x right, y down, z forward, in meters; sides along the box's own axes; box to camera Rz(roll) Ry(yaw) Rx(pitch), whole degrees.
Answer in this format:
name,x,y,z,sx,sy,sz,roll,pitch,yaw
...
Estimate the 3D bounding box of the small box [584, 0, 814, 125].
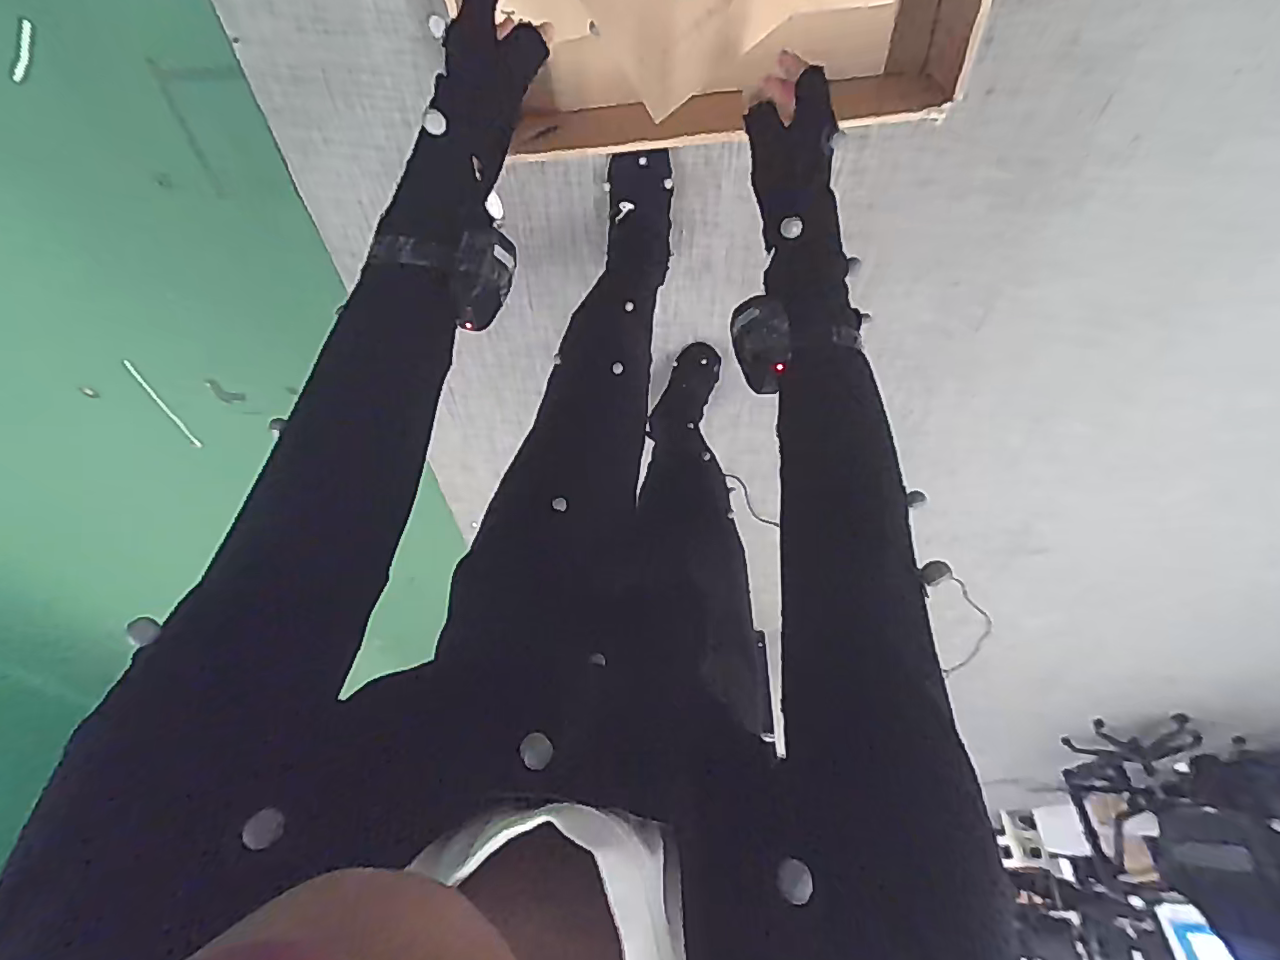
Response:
name,x,y,z,sx,sy,sz,roll,pitch,yaw
small box,0.041,-0.494,0.509,0.168,0.176,0.179,-23,136,30
